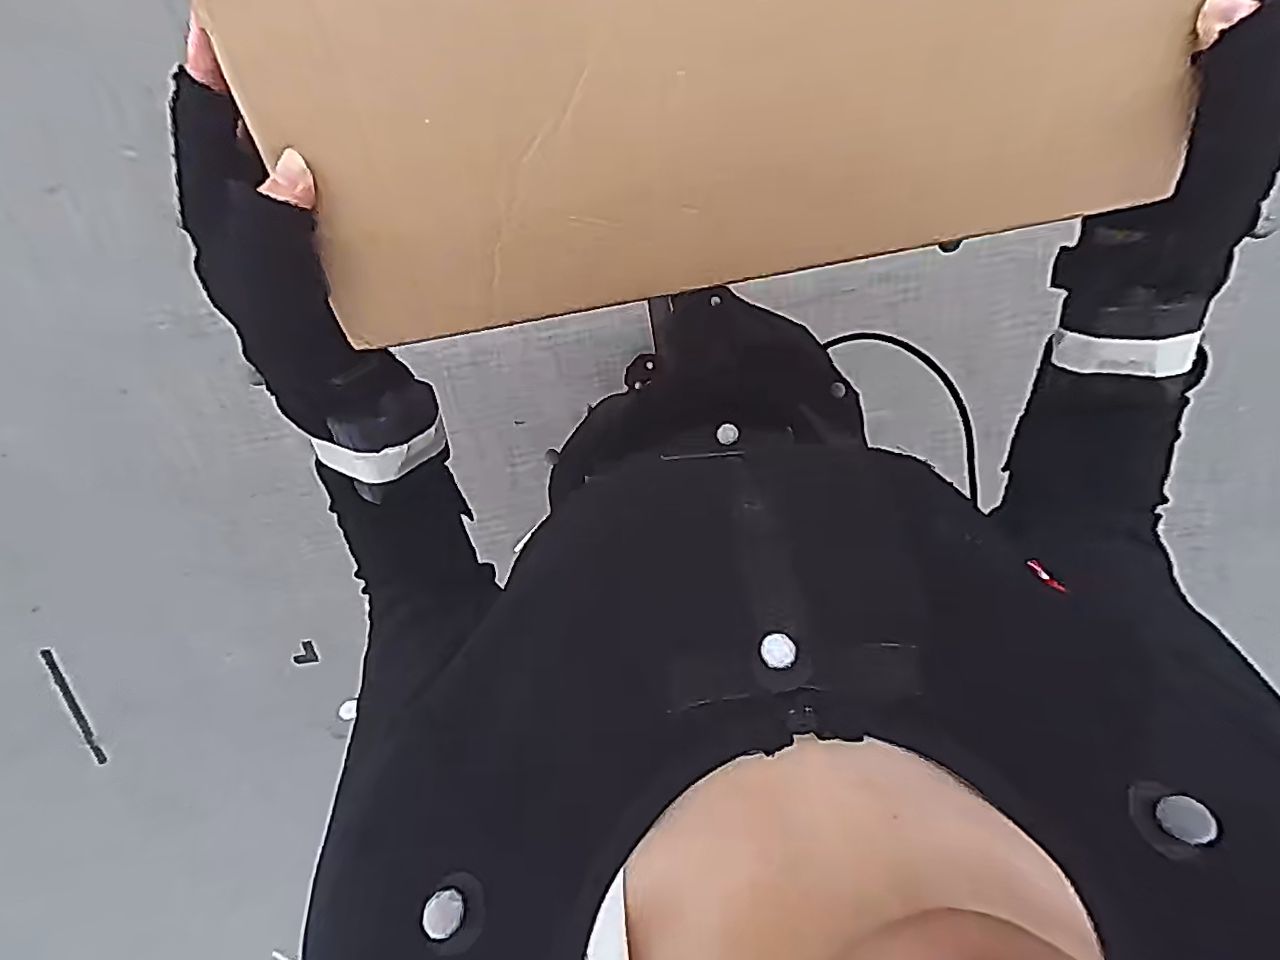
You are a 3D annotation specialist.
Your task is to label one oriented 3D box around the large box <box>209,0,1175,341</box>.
[{"bbox_3d":[0.015,-0.313,0.330,0.408,0.320,0.320,-10,119,4],"label":"large box"}]
